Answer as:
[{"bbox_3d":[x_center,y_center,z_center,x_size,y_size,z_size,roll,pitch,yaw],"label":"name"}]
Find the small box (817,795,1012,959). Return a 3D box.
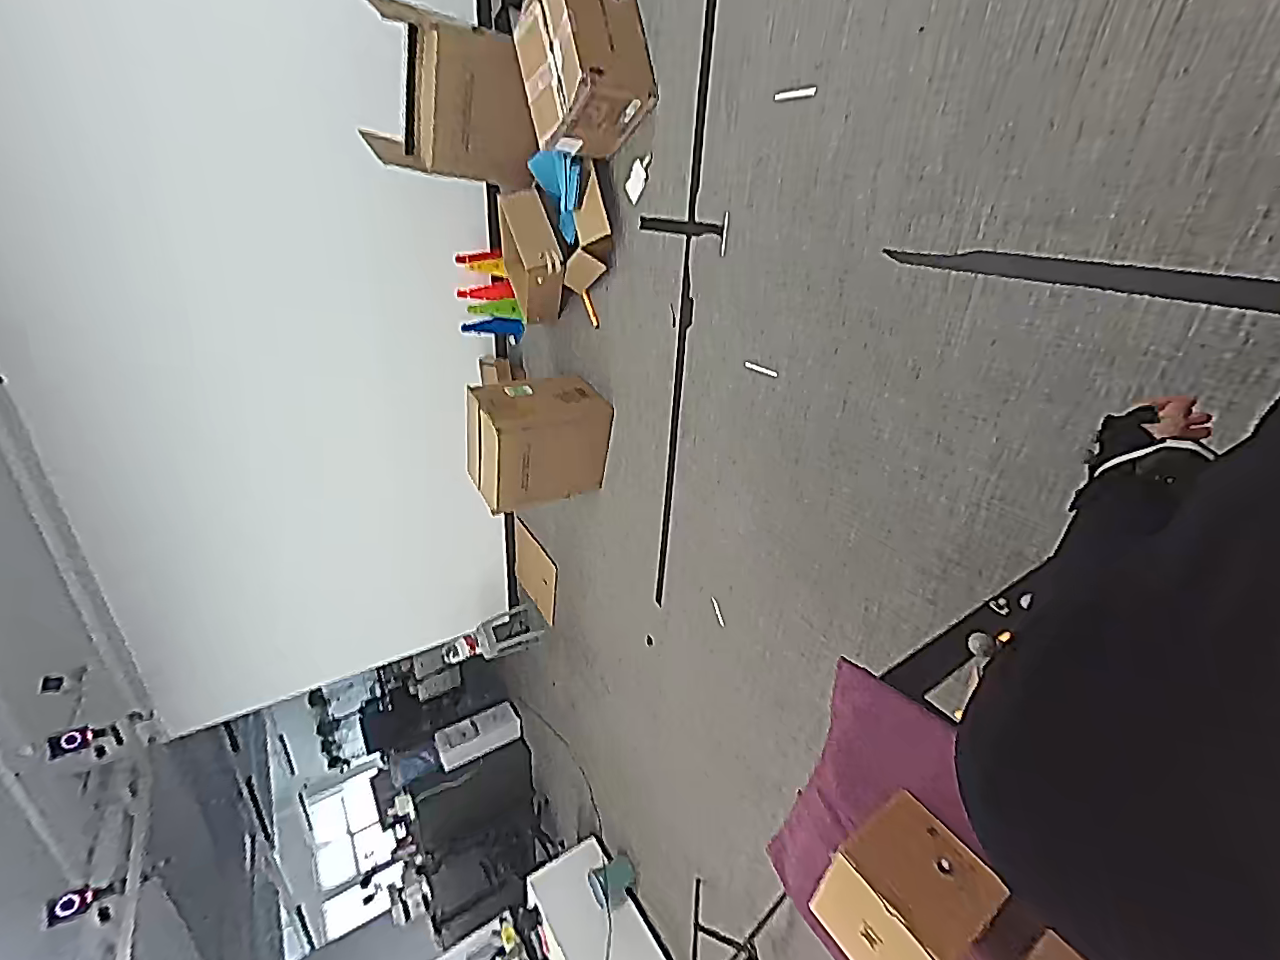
[{"bbox_3d":[0.393,0.609,0.784,0.168,0.176,0.179,39,134,44],"label":"small box"}]

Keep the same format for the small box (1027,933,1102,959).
[{"bbox_3d":[0.509,0.694,0.629,0.168,0.176,0.179,40,134,45],"label":"small box"}]
